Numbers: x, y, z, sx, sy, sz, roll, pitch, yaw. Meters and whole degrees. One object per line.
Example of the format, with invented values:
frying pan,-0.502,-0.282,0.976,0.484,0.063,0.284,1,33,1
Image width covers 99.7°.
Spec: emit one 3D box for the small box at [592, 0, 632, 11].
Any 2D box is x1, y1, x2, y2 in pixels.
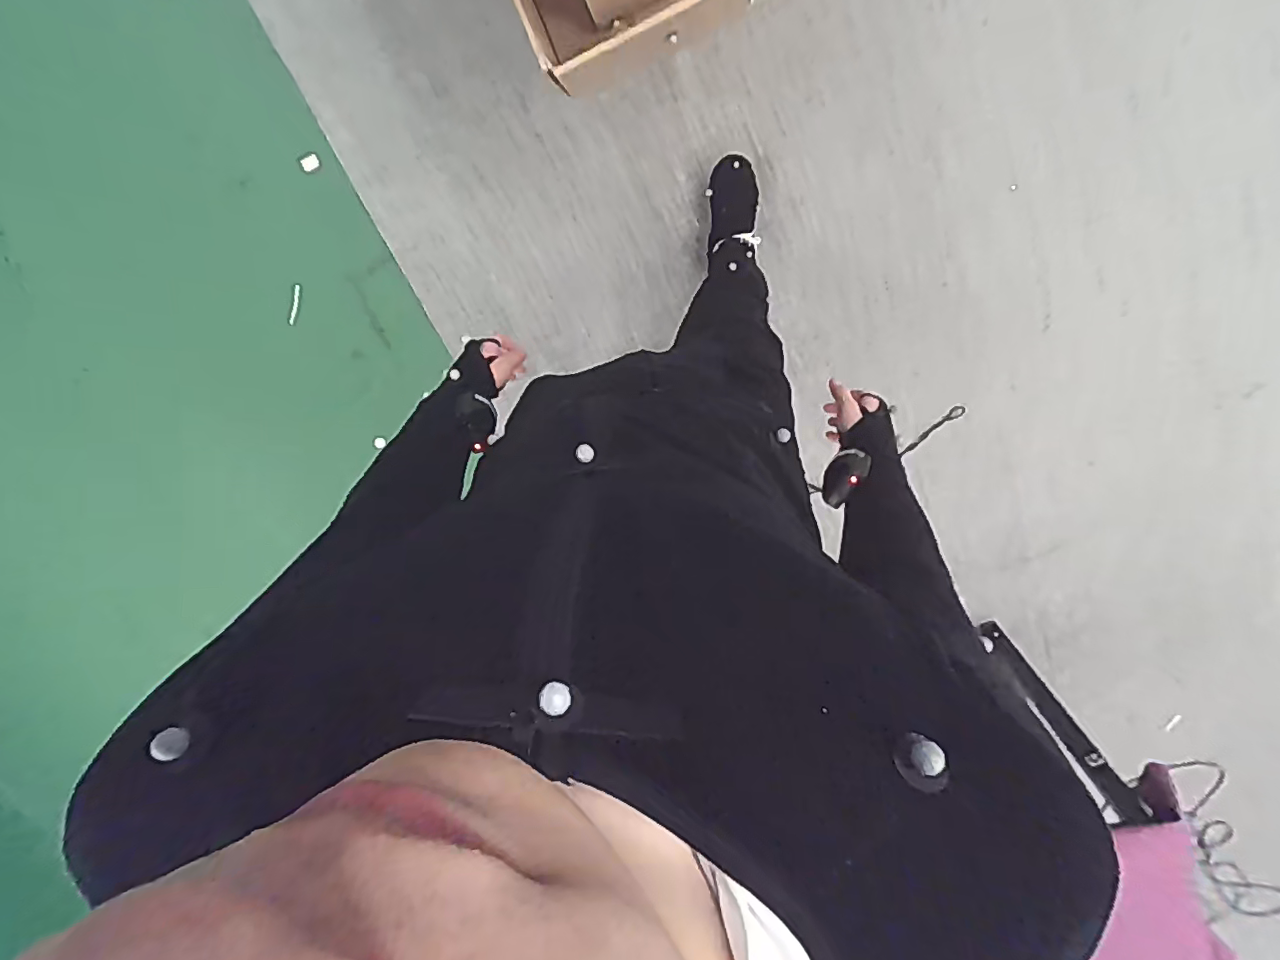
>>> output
small box,-0.027,-0.812,0.761,0.168,0.176,0.179,-18,111,13
